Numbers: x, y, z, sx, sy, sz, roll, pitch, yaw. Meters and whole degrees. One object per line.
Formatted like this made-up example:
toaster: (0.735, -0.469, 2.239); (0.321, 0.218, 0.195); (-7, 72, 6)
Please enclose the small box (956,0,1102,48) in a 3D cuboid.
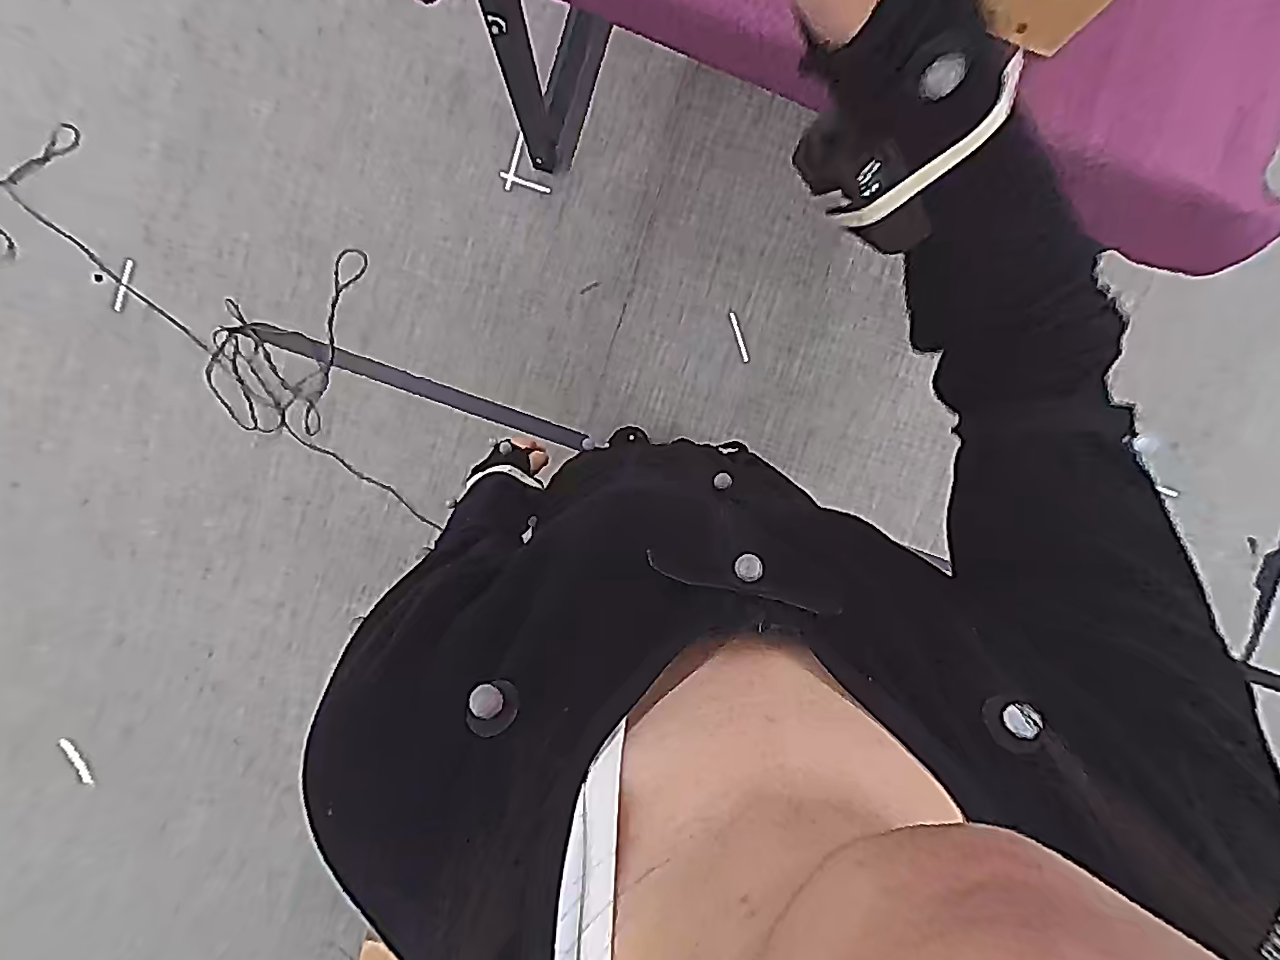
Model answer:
small box: (0.515, -0.683, 0.651); (0.168, 0.176, 0.179); (18, 93, -3)
